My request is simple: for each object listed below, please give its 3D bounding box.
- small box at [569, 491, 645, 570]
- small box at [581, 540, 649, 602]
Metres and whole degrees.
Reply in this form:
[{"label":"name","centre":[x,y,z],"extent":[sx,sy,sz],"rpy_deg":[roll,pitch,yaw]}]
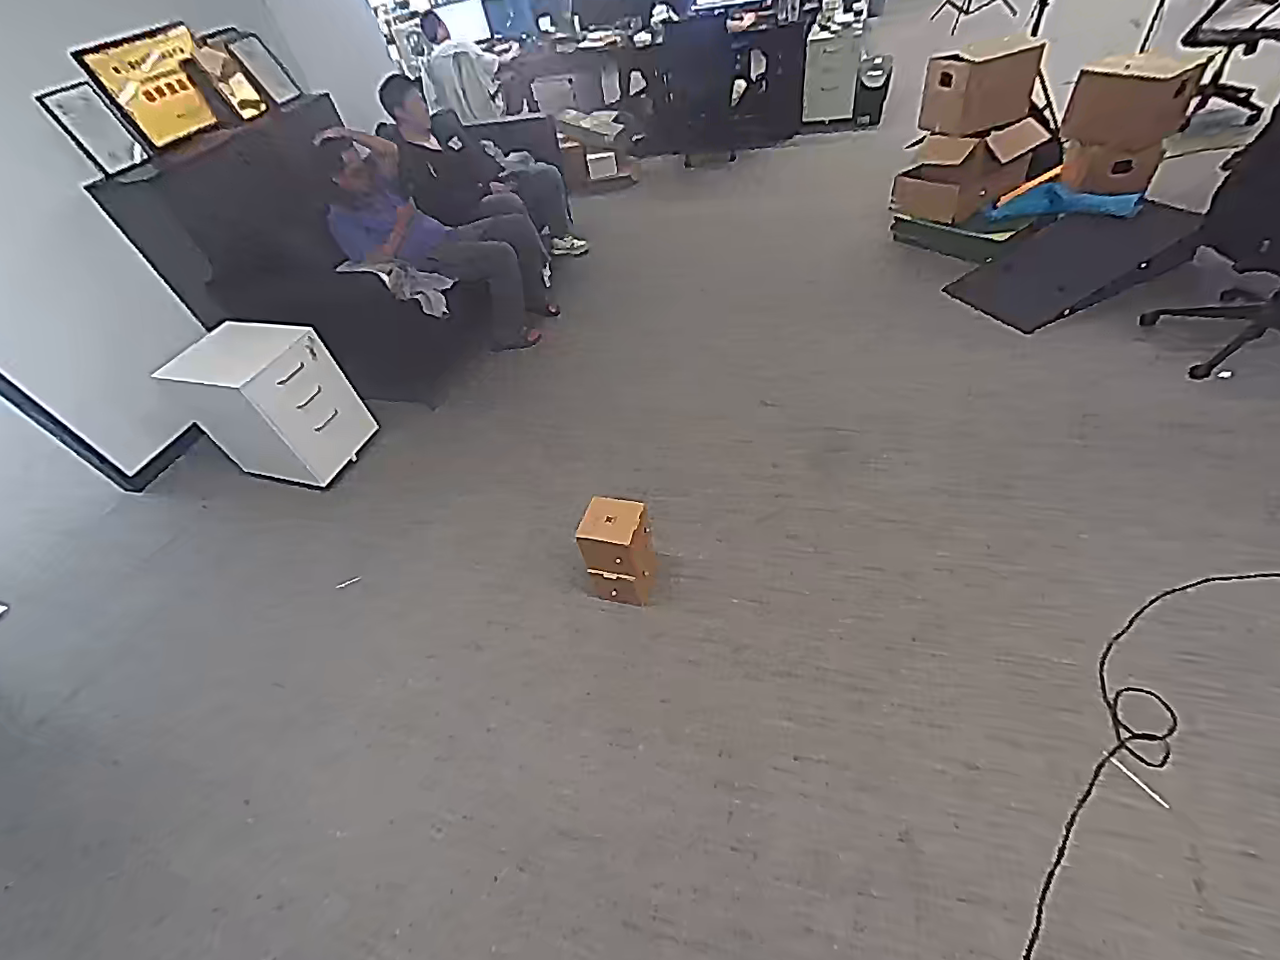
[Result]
[{"label":"small box","centre":[-0.093,0.160,1.676],"extent":[0.179,0.176,0.168],"rpy_deg":[7,48,18]},{"label":"small box","centre":[-0.075,0.285,1.806],"extent":[0.168,0.176,0.179],"rpy_deg":[5,49,17]}]
